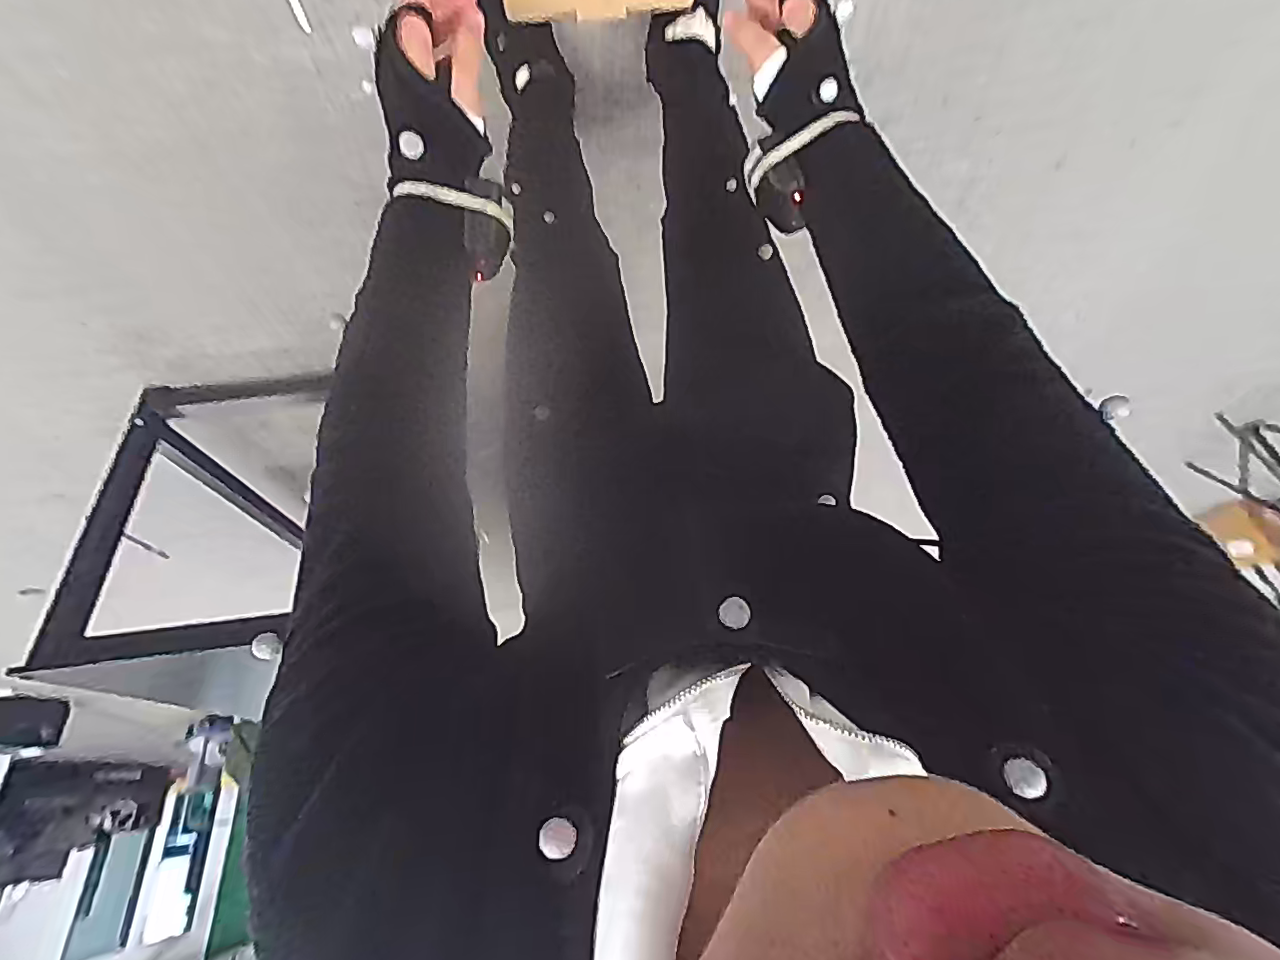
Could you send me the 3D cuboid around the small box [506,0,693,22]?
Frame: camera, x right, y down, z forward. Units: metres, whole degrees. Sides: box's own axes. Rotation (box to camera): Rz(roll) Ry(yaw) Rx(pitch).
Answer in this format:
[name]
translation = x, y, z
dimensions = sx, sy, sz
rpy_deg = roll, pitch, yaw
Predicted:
[small box]
translation = -0.044, -0.521, 0.441
dimensions = 0.168, 0.176, 0.179
rpy_deg = -8, 150, -4
